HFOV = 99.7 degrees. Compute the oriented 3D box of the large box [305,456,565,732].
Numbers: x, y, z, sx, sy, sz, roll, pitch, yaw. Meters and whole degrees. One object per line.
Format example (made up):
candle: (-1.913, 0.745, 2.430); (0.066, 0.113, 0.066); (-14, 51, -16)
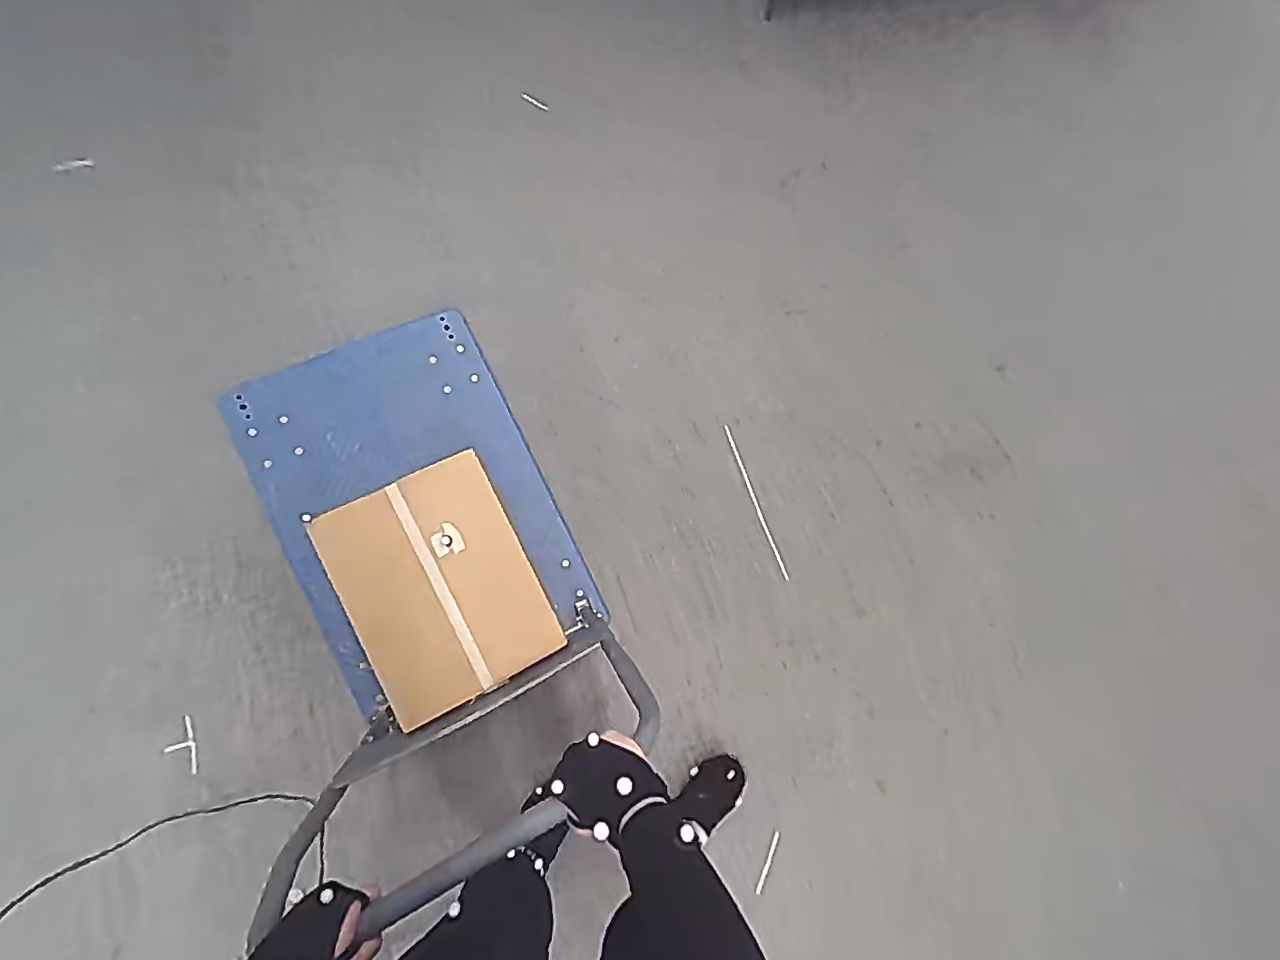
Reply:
large box: (-0.384, 0.215, 1.110); (0.320, 0.320, 0.408); (-27, 87, -14)
